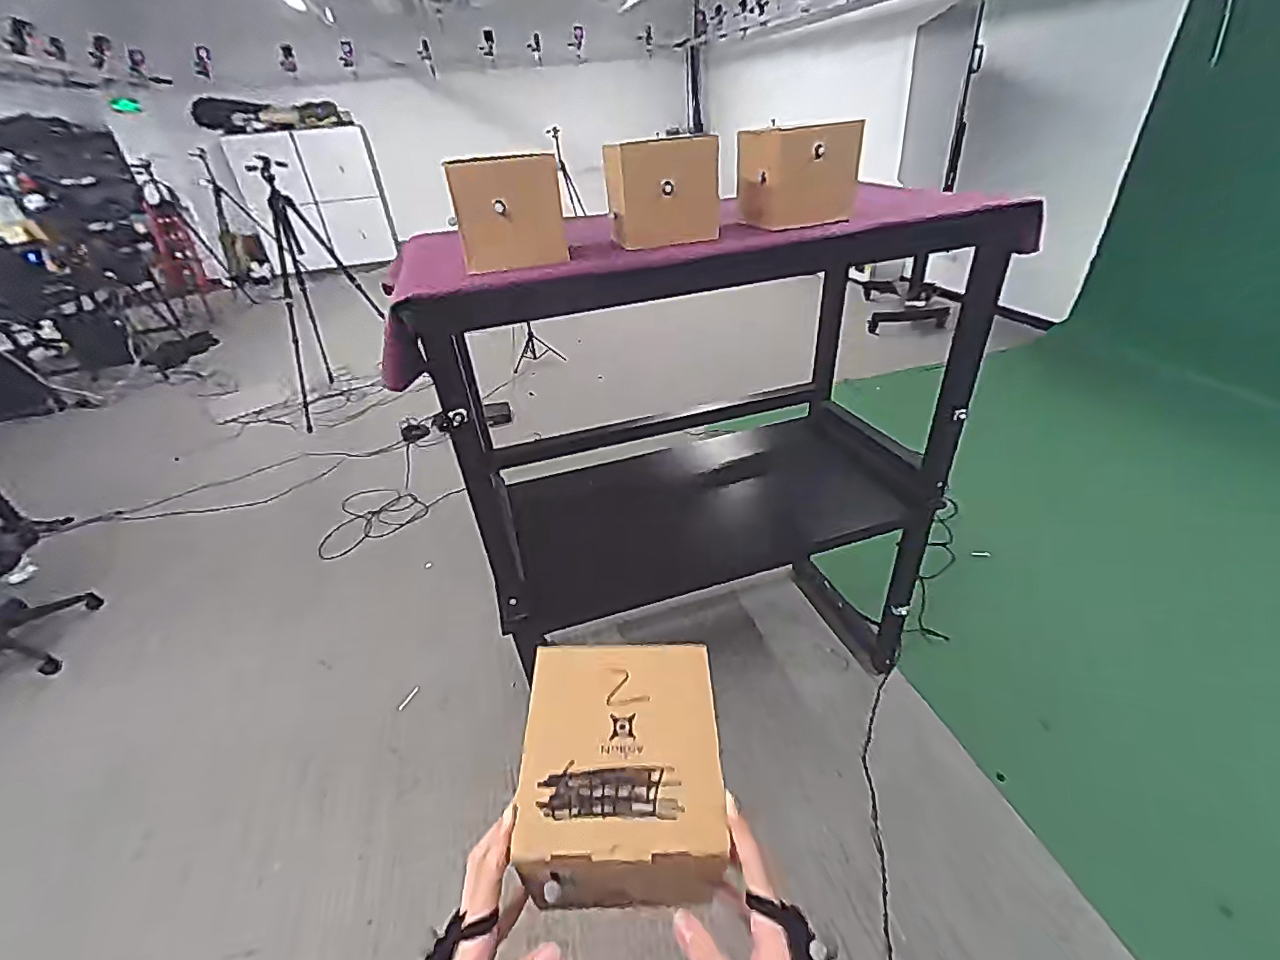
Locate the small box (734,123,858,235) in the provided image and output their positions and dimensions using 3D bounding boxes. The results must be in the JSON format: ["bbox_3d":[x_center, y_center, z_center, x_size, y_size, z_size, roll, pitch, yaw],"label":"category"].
[{"bbox_3d":[0.297,-0.589,1.061,0.179,0.176,0.168,-13,34,-12],"label":"small box"}]

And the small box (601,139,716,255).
[{"bbox_3d":[0.033,-0.532,1.010,0.179,0.176,0.168,-12,33,-8],"label":"small box"}]

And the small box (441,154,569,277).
[{"bbox_3d":[-0.234,-0.465,0.948,0.179,0.176,0.168,-12,34,-10],"label":"small box"}]
